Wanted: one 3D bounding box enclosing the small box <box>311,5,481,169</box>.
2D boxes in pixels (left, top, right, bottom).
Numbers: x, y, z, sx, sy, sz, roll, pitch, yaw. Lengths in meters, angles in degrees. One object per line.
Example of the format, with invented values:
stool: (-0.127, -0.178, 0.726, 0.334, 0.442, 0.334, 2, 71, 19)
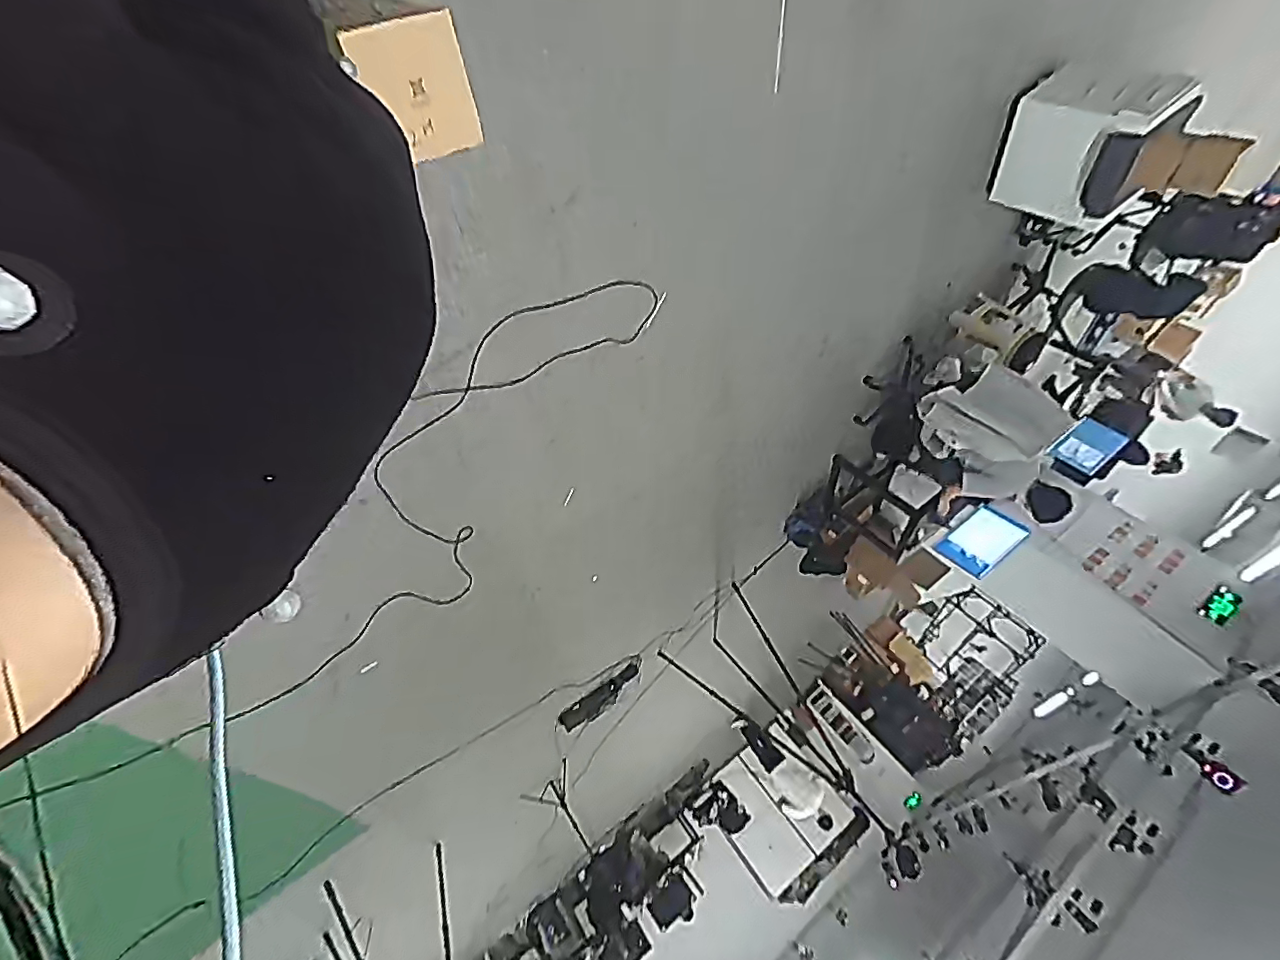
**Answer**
small box: (-0.386, -0.628, 0.858, 0.168, 0.176, 0.179, -31, 143, -19)
